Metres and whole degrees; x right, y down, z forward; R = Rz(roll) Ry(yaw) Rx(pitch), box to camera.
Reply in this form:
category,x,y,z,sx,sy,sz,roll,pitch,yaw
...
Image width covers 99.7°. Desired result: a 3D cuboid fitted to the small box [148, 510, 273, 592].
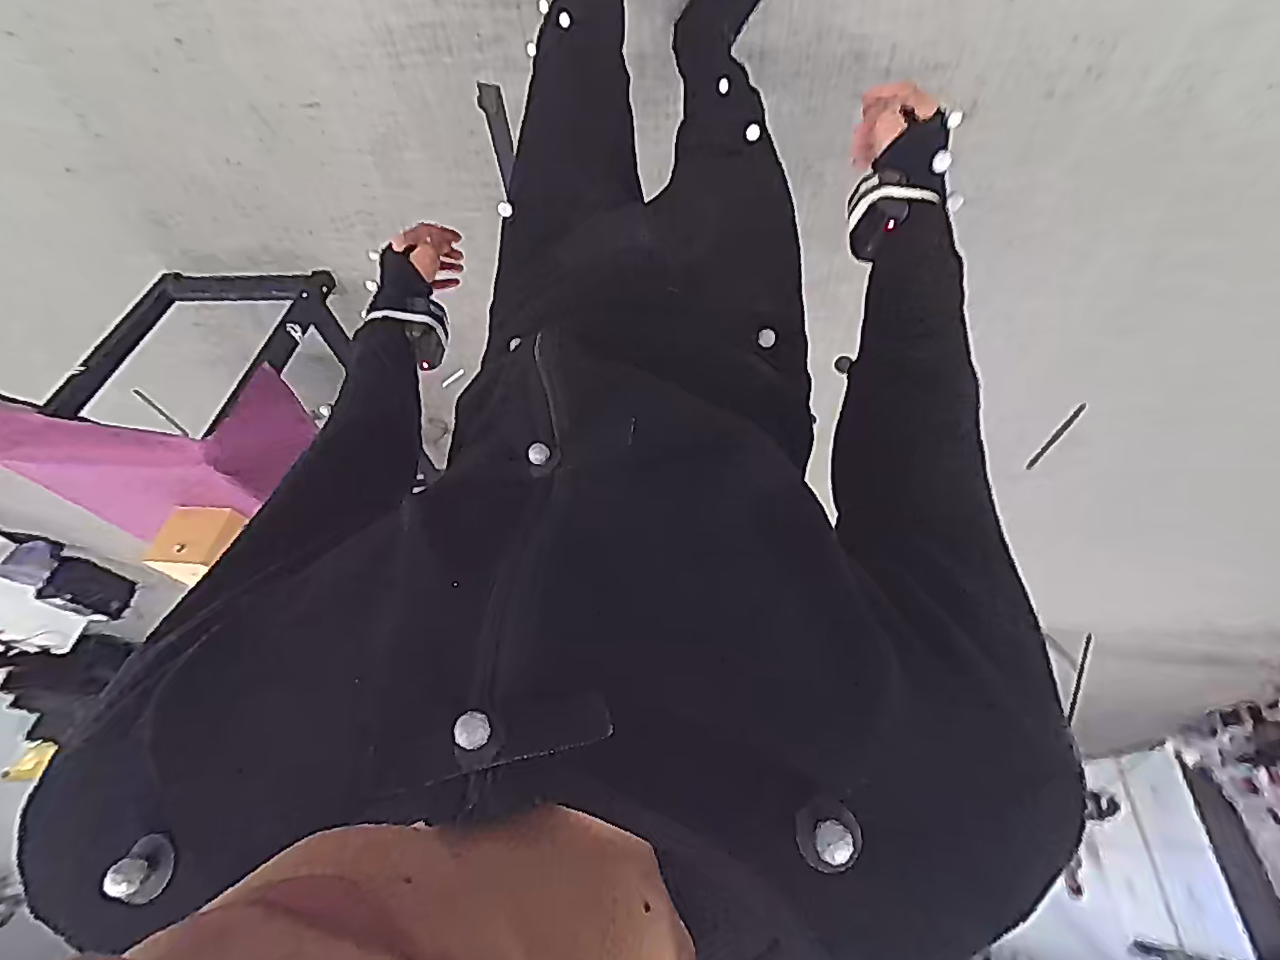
category,x,y,z,sx,sy,sz,roll,pitch,yaw
small box,-1.166,0.193,1.486,0.179,0.176,0.168,1,147,8
